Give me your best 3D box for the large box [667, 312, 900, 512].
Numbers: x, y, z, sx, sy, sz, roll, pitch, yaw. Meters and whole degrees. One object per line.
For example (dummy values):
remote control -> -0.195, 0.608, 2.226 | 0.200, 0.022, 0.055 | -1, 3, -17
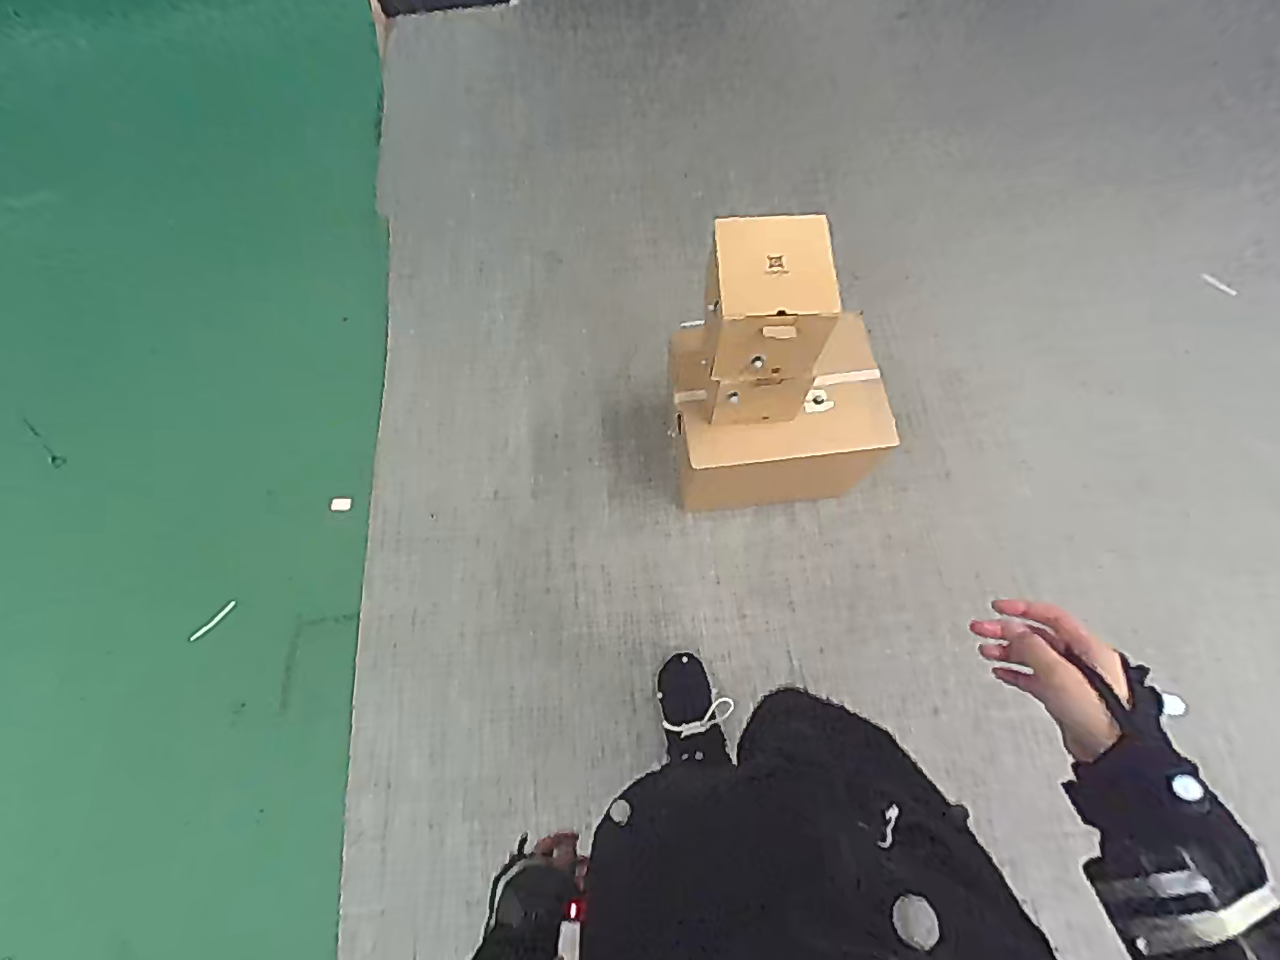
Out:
large box -> 0.284, -0.136, 1.214 | 0.408, 0.320, 0.320 | -6, 72, -2

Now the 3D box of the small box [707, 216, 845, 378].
small box -> 0.197, -0.275, 0.834 | 0.168, 0.176, 0.179 | -1, 71, 1
